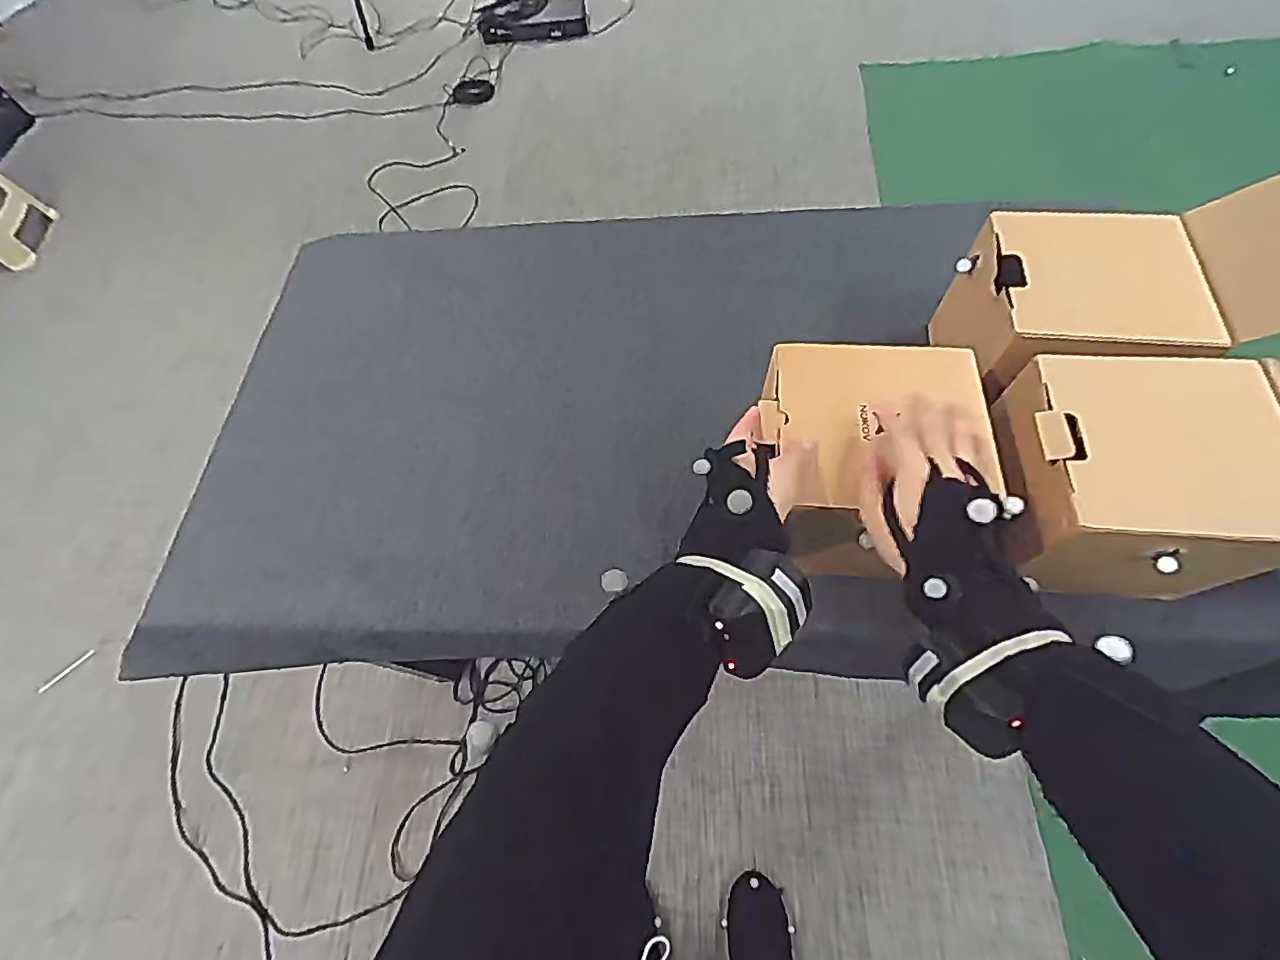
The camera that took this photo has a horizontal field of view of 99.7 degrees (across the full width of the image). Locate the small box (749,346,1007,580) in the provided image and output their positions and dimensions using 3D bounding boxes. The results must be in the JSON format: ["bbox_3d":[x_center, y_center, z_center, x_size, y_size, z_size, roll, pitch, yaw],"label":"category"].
[{"bbox_3d":[0.205,-0.008,0.520,0.179,0.176,0.168,3,64,6],"label":"small box"}]
